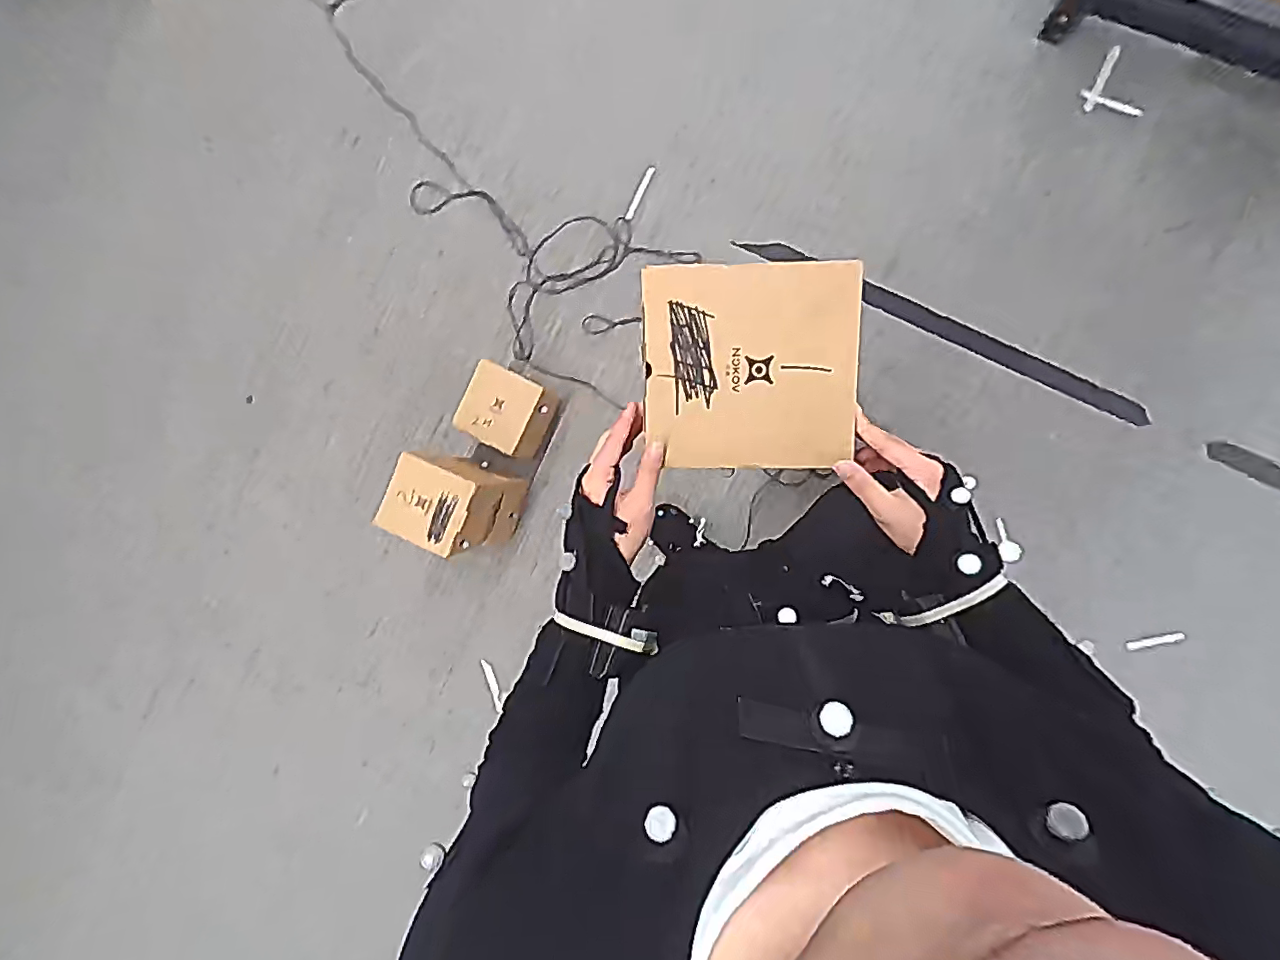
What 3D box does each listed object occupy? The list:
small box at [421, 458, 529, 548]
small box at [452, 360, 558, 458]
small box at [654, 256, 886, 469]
[{"bbox_3d":[-0.398,0.053,1.330,0.179,0.176,0.168,19,94,6],"label":"small box"},{"bbox_3d":[-0.316,-0.165,1.311,0.168,0.176,0.179,27,95,6],"label":"small box"},{"bbox_3d":[0.106,-0.103,0.506,0.179,0.176,0.168,1,99,4],"label":"small box"}]
